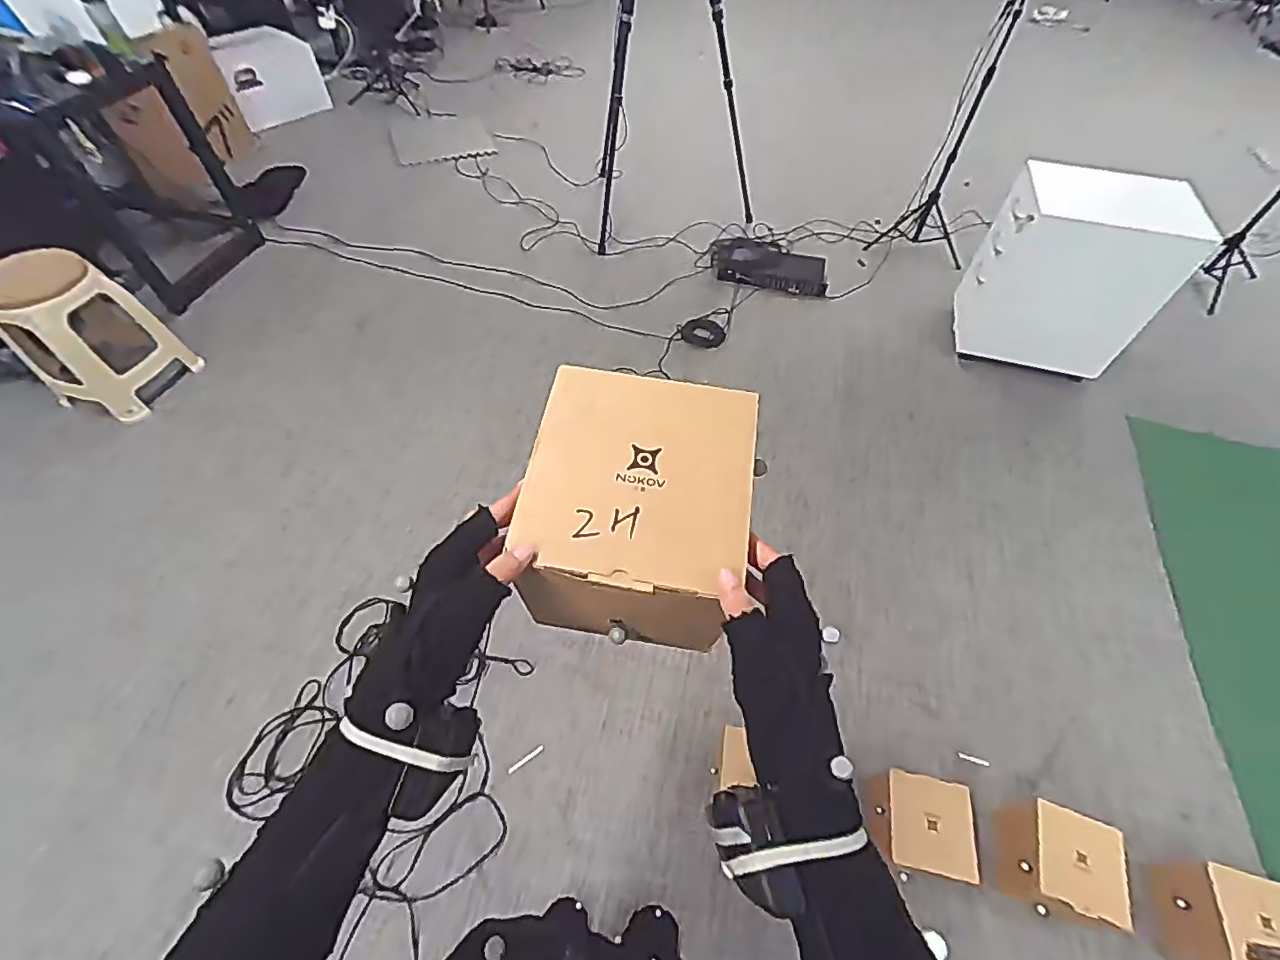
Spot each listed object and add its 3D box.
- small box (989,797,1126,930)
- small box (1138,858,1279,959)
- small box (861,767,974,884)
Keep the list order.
[{"bbox_3d":[0.869,0.807,1.145,0.168,0.176,0.179,18,56,11],"label":"small box"},{"bbox_3d":[1.171,0.894,1.091,0.168,0.176,0.179,14,54,8],"label":"small box"},{"bbox_3d":[0.591,0.751,1.176,0.168,0.176,0.179,10,56,7],"label":"small box"}]
